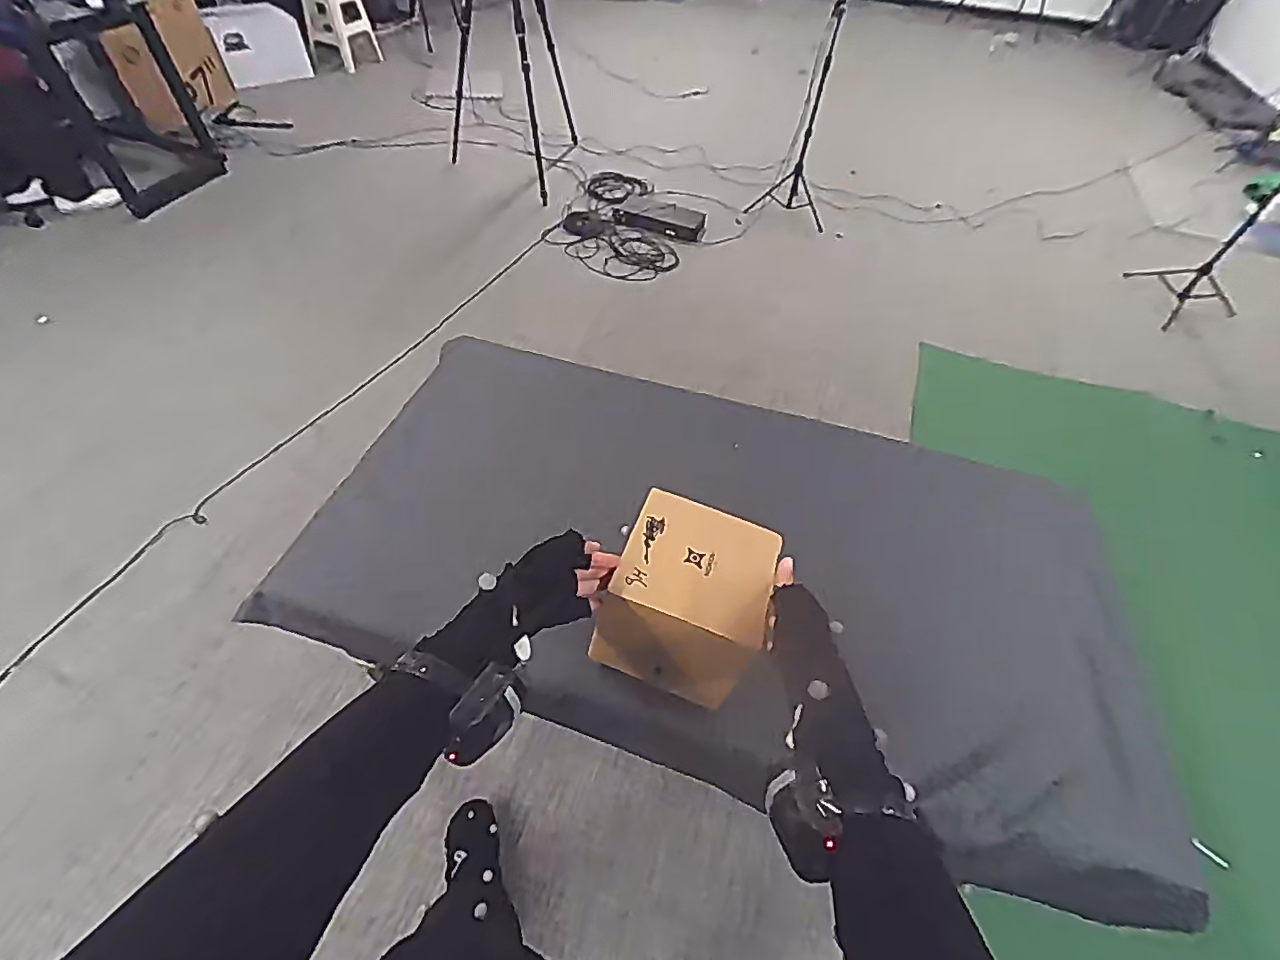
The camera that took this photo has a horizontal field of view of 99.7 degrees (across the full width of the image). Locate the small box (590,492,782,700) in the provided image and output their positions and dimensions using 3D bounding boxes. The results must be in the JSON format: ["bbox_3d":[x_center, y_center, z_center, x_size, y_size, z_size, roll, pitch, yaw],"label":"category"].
[{"bbox_3d":[0.054,0.152,0.680,0.179,0.176,0.168,22,47,4],"label":"small box"}]
